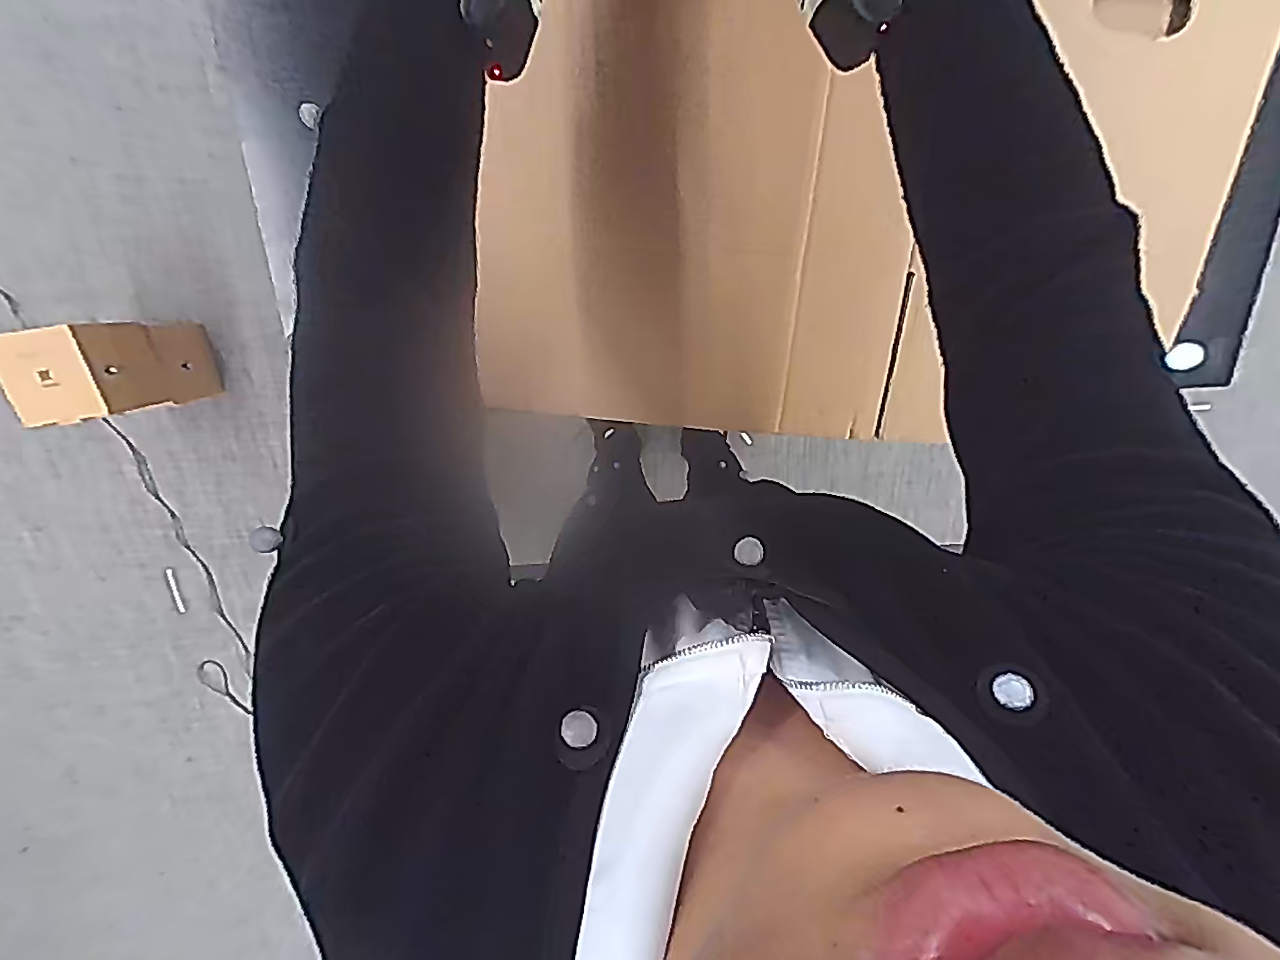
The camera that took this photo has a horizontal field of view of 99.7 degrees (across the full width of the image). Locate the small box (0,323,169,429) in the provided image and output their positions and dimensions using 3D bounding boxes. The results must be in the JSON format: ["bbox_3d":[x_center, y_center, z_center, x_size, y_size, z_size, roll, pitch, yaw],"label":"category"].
[{"bbox_3d":[-1.115,-0.215,1.089,0.168,0.176,0.179,-10,108,-1],"label":"small box"}]

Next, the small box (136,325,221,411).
[{"bbox_3d":[-1.123,-0.261,1.244,0.168,0.176,0.179,-7,109,-1],"label":"small box"}]
